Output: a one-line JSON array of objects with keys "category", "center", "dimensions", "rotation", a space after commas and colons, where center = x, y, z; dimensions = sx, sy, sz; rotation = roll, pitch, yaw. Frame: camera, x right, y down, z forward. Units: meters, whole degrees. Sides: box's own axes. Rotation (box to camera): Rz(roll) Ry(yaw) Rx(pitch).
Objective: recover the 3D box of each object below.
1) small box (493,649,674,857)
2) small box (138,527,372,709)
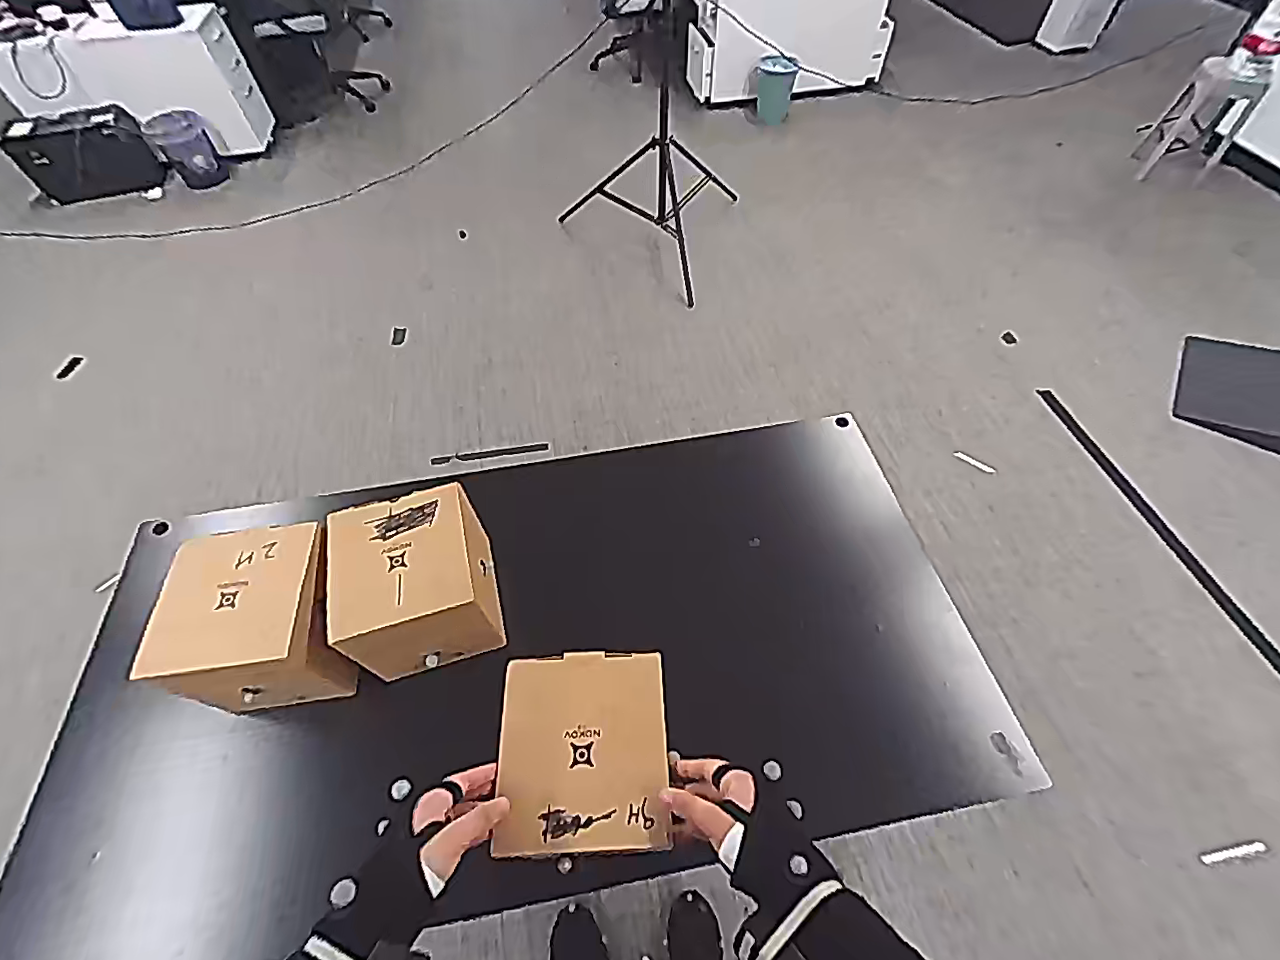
[{"category": "small box", "center": [-0.052, 0.304, 0.598], "dimensions": [0.168, 0.176, 0.179], "rotation": [-4, 54, 0]}, {"category": "small box", "center": [-0.470, 0.185, 0.698], "dimensions": [0.168, 0.176, 0.179], "rotation": [-7, 55, -4]}]
